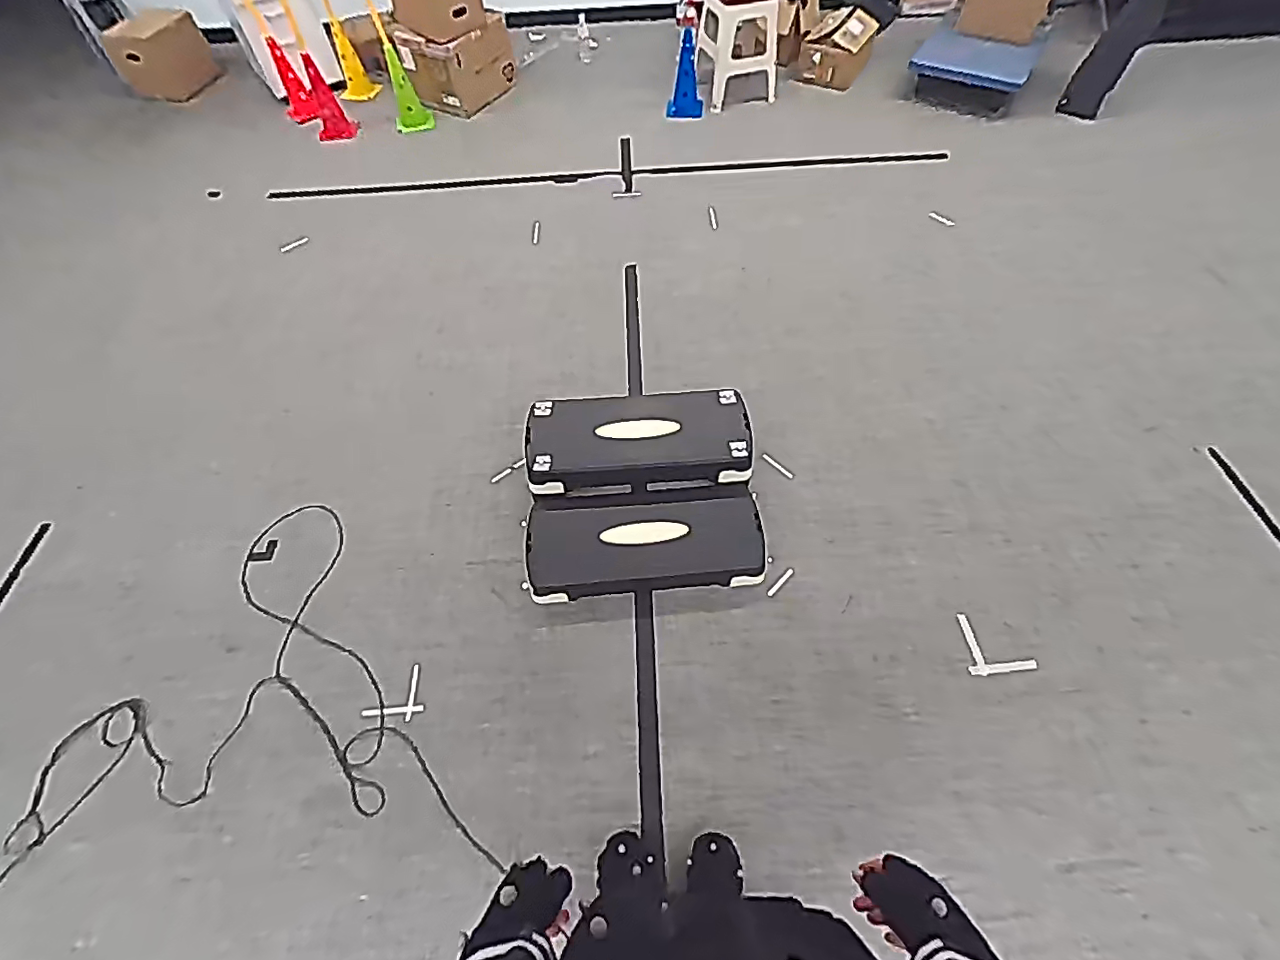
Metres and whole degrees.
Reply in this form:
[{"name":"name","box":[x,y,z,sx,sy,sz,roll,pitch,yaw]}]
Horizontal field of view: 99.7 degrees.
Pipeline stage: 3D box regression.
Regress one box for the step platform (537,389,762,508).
[{"name":"step platform","box":[0.026,-0.103,1.672,0.684,0.204,0.286,-4,58,-2]}]
